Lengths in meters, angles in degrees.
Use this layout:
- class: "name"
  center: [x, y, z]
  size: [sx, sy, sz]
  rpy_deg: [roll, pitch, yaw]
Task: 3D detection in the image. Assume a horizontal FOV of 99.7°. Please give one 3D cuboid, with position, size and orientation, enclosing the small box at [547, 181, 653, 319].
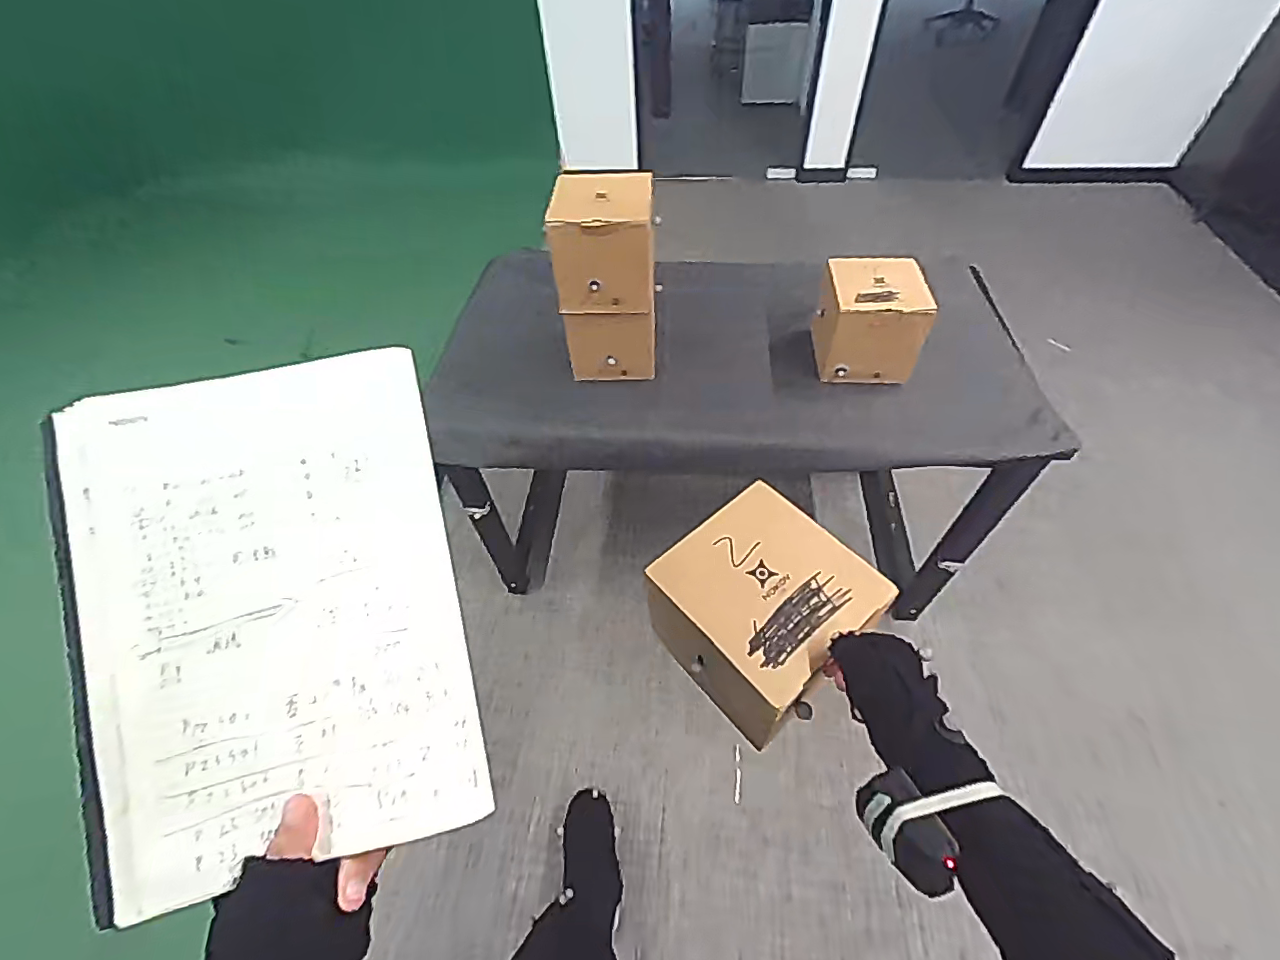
- class: "small box"
  center: [-0.062, -0.410, 0.963]
  size: [0.168, 0.176, 0.179]
  rpy_deg: [0, 51, 2]

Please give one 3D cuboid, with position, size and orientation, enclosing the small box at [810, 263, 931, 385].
- class: "small box"
  center: [0.439, -0.303, 1.061]
  size: [0.168, 0.176, 0.179]
  rpy_deg: [2, 50, 5]

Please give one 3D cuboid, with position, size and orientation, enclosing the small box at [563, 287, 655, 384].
- class: "small box"
  center: [-0.056, -0.314, 1.095]
  size: [0.168, 0.176, 0.179]
  rpy_deg: [-1, 51, 2]
